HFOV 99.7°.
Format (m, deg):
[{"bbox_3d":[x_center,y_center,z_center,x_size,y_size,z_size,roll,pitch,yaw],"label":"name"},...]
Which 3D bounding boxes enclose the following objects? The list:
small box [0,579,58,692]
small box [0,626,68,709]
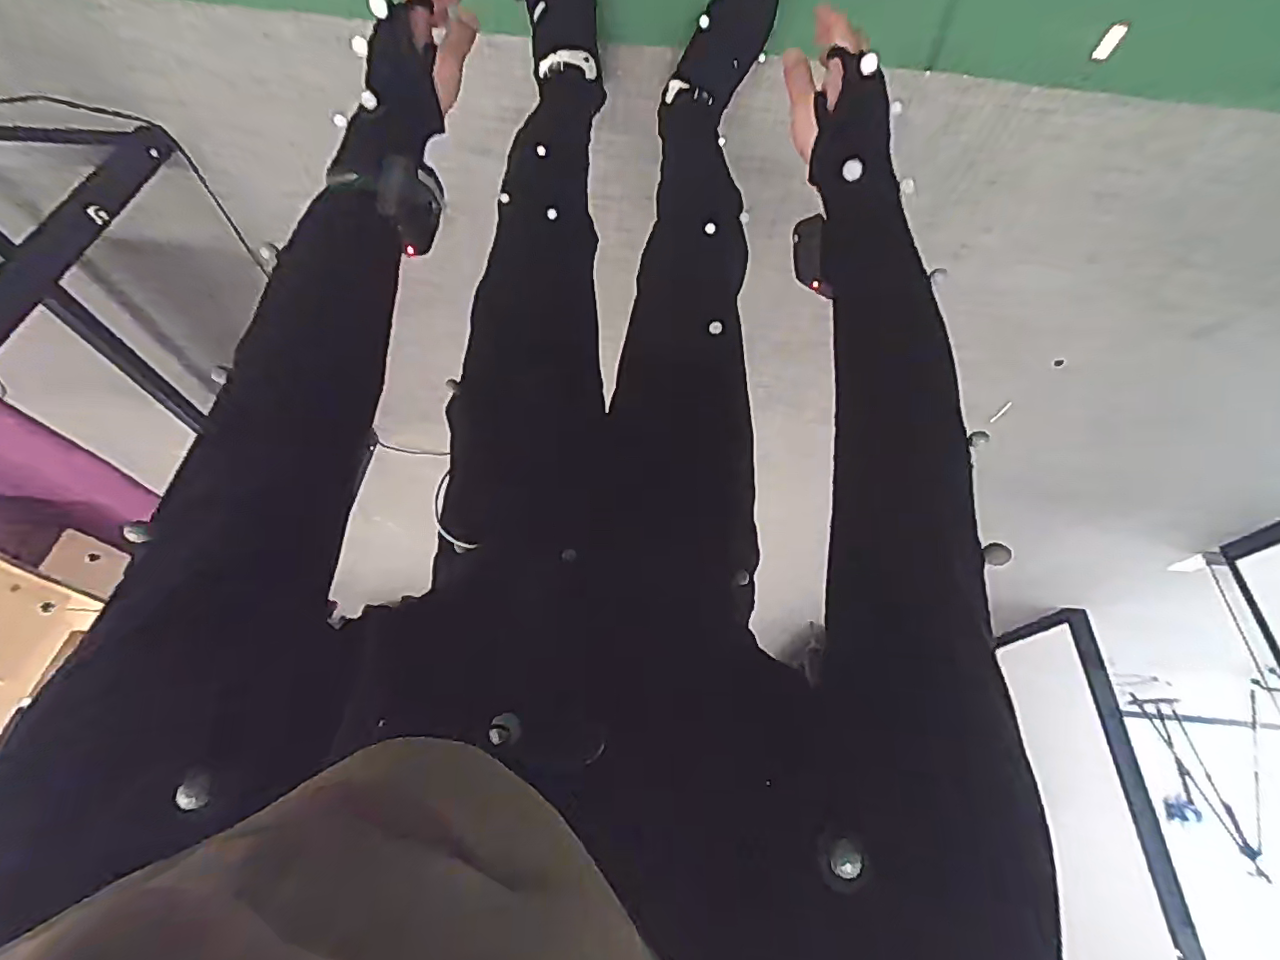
[{"bbox_3d":[-1.205,0.266,0.952,0.179,0.176,0.168,4,147,2],"label":"small box"},{"bbox_3d":[-1.387,0.367,1.129,0.179,0.176,0.168,3,147,1],"label":"small box"}]
